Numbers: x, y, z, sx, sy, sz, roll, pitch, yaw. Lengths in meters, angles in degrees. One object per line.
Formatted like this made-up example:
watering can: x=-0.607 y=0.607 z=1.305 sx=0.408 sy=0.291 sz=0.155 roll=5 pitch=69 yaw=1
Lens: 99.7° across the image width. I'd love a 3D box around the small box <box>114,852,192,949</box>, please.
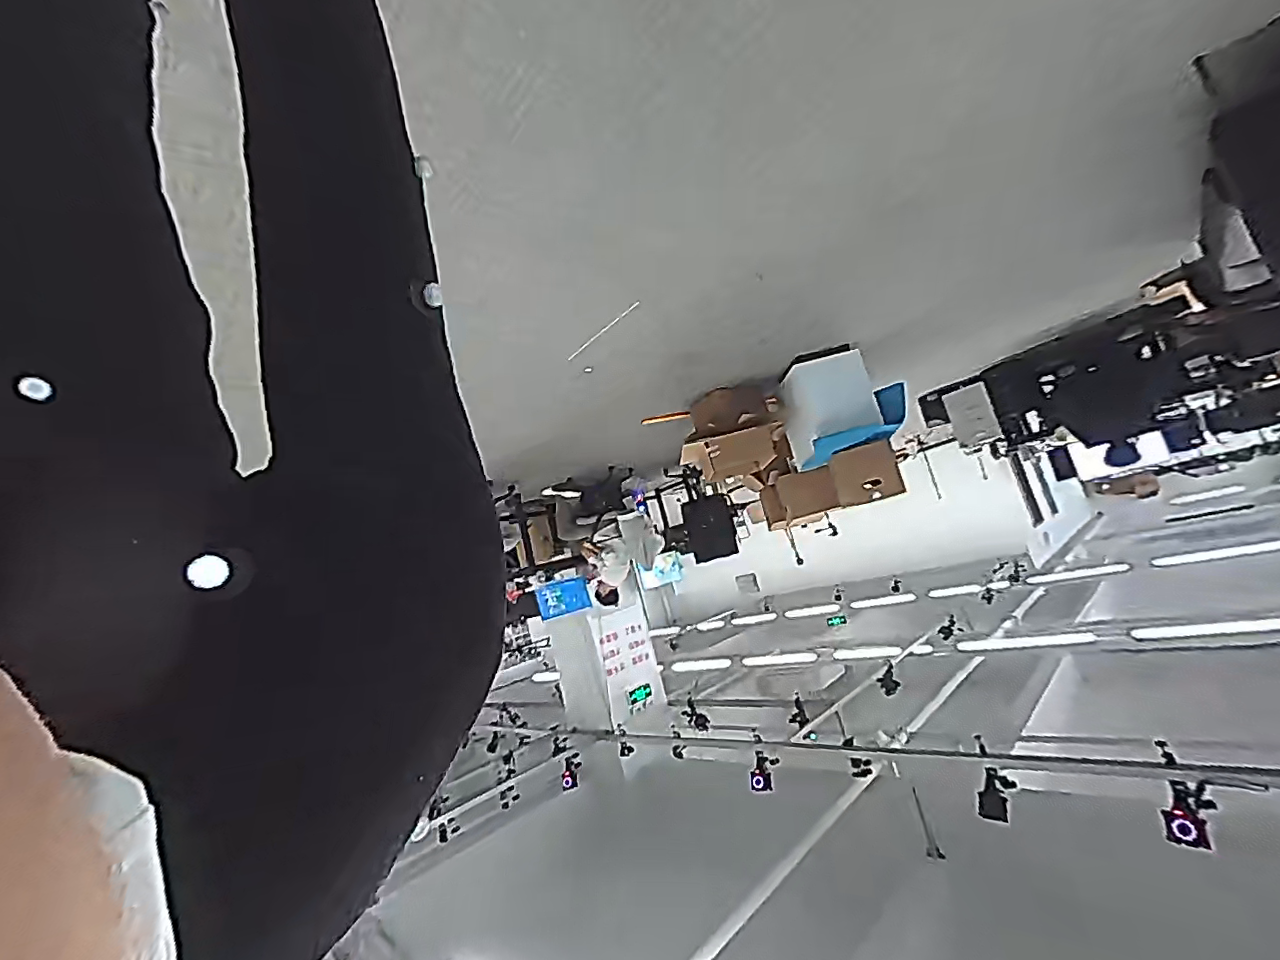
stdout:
small box: x=-1.568 y=1.338 z=1.737 sx=0.179 sy=0.176 sz=0.168 roll=-21 pitch=169 yaw=42
